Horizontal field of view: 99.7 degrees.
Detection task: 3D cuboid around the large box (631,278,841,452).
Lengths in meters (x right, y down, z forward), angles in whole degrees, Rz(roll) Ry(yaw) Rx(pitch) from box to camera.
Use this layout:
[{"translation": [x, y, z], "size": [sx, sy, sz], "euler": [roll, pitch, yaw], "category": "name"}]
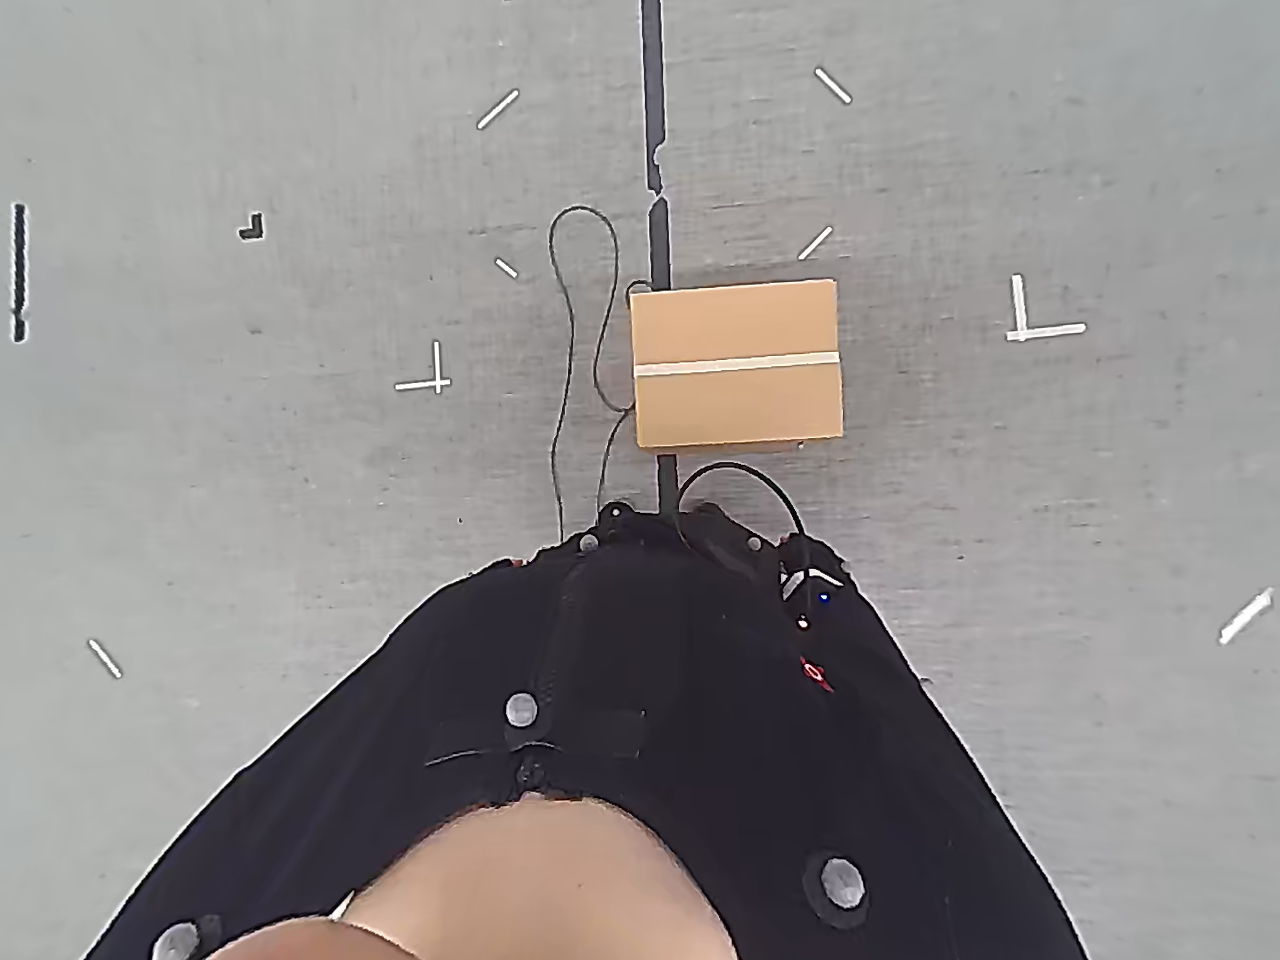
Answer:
[{"translation": [0.201, -0.233, 1.224], "size": [0.408, 0.320, 0.320], "euler": [-3, 89, 4], "category": "large box"}]
